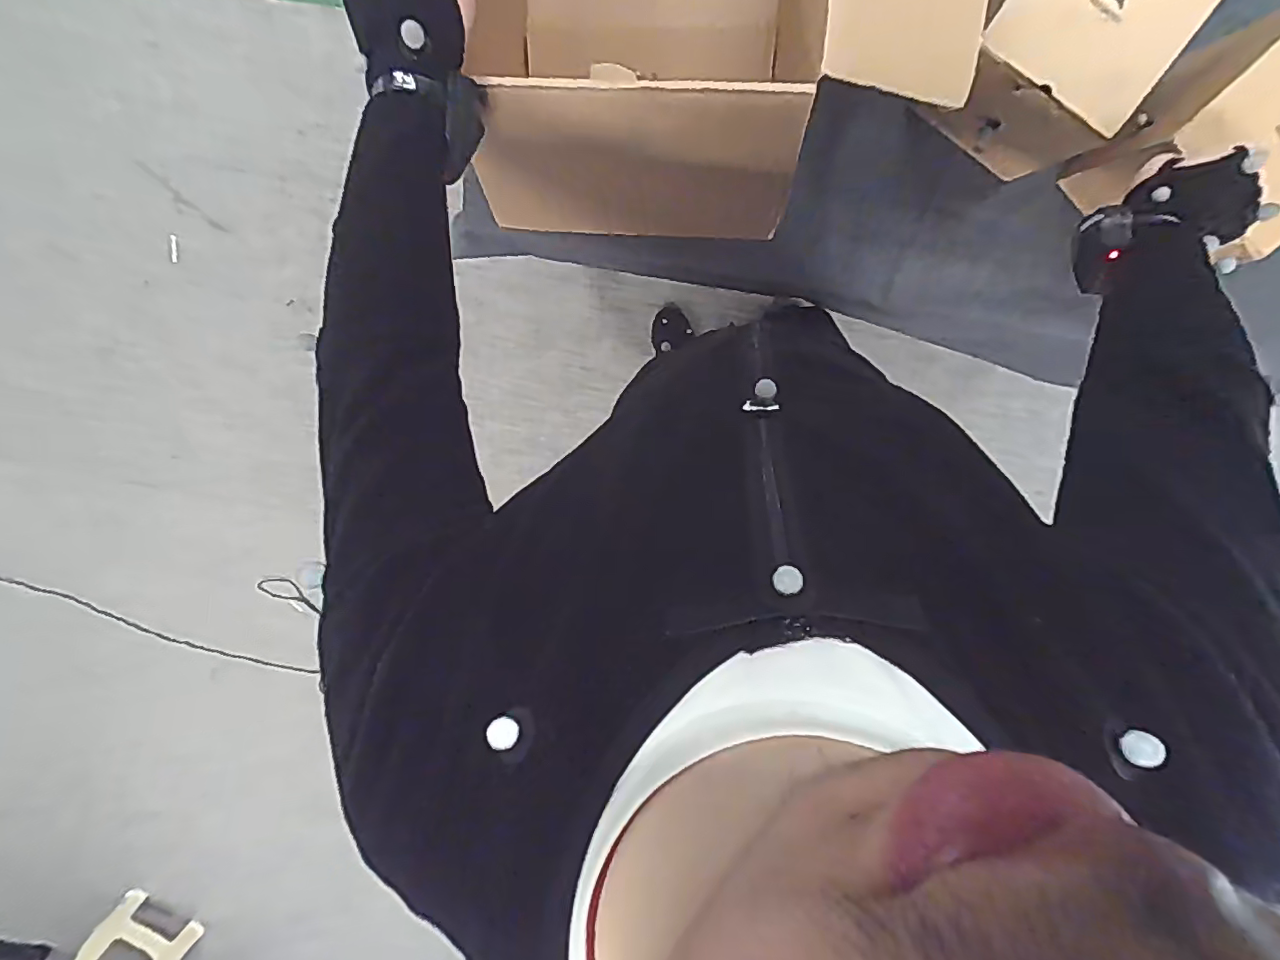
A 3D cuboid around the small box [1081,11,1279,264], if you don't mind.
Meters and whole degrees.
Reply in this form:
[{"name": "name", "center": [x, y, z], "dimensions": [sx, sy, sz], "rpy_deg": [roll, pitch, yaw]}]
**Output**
[{"name": "small box", "center": [0.642, -0.361, 0.591], "dimensions": [0.168, 0.176, 0.179], "rpy_deg": [40, 105, -9]}]
